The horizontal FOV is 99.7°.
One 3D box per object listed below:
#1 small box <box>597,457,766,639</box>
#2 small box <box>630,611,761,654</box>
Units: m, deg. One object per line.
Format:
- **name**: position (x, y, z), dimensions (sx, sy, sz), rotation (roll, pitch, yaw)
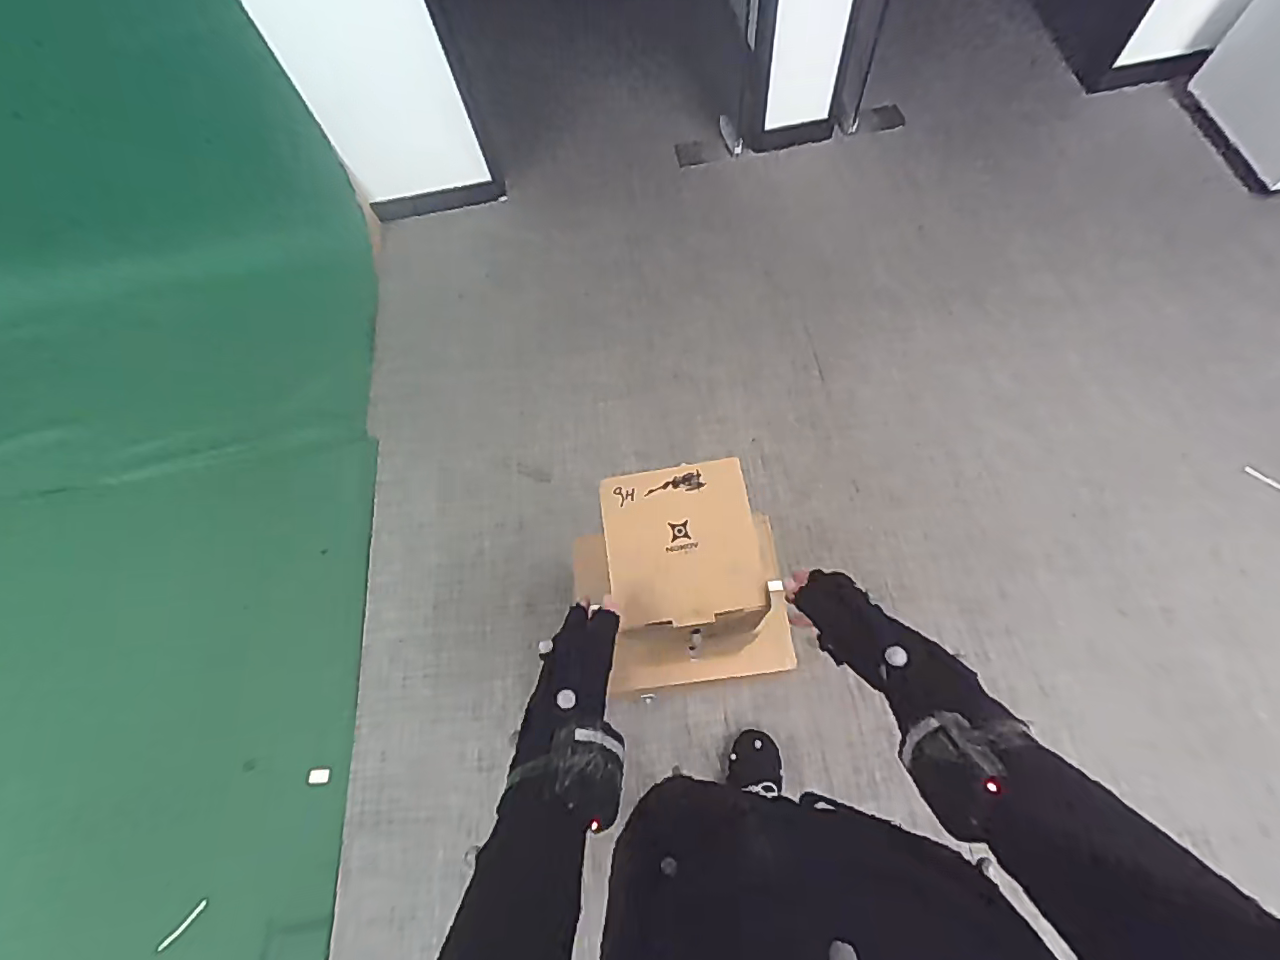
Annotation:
- **small box**: position (0.051, 0.094, 0.666), dimensions (0.168, 0.176, 0.179), rotation (-11, 68, 3)
- **small box**: position (0.073, 0.163, 0.812), dimensions (0.179, 0.176, 0.168), rotation (-10, 67, 4)
